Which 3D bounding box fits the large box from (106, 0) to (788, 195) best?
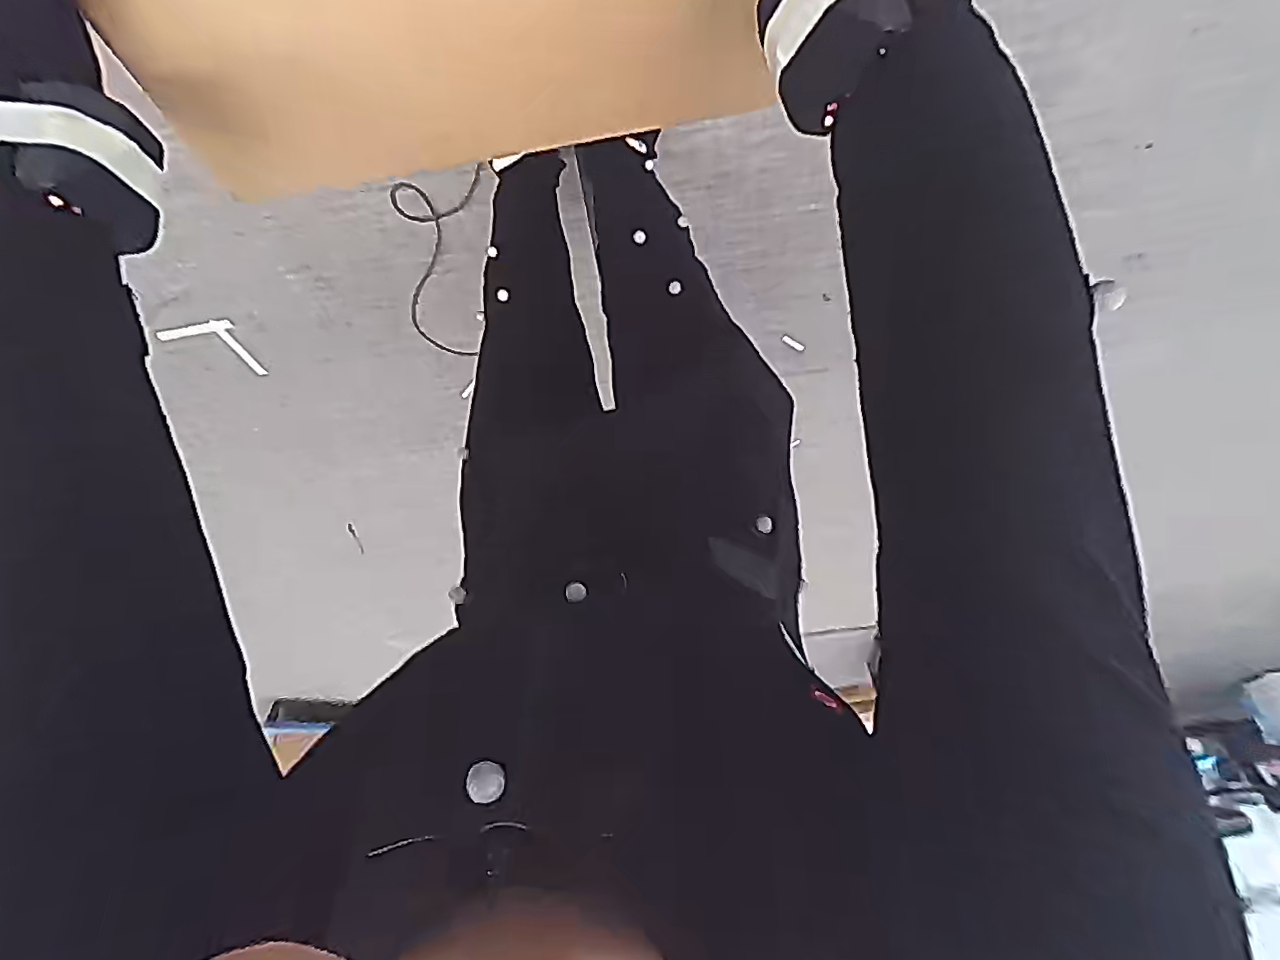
[{"bbox_3d":[-0.131,-0.450,0.347,0.408,0.320,0.320,-9,150,3],"label":"large box"}]
